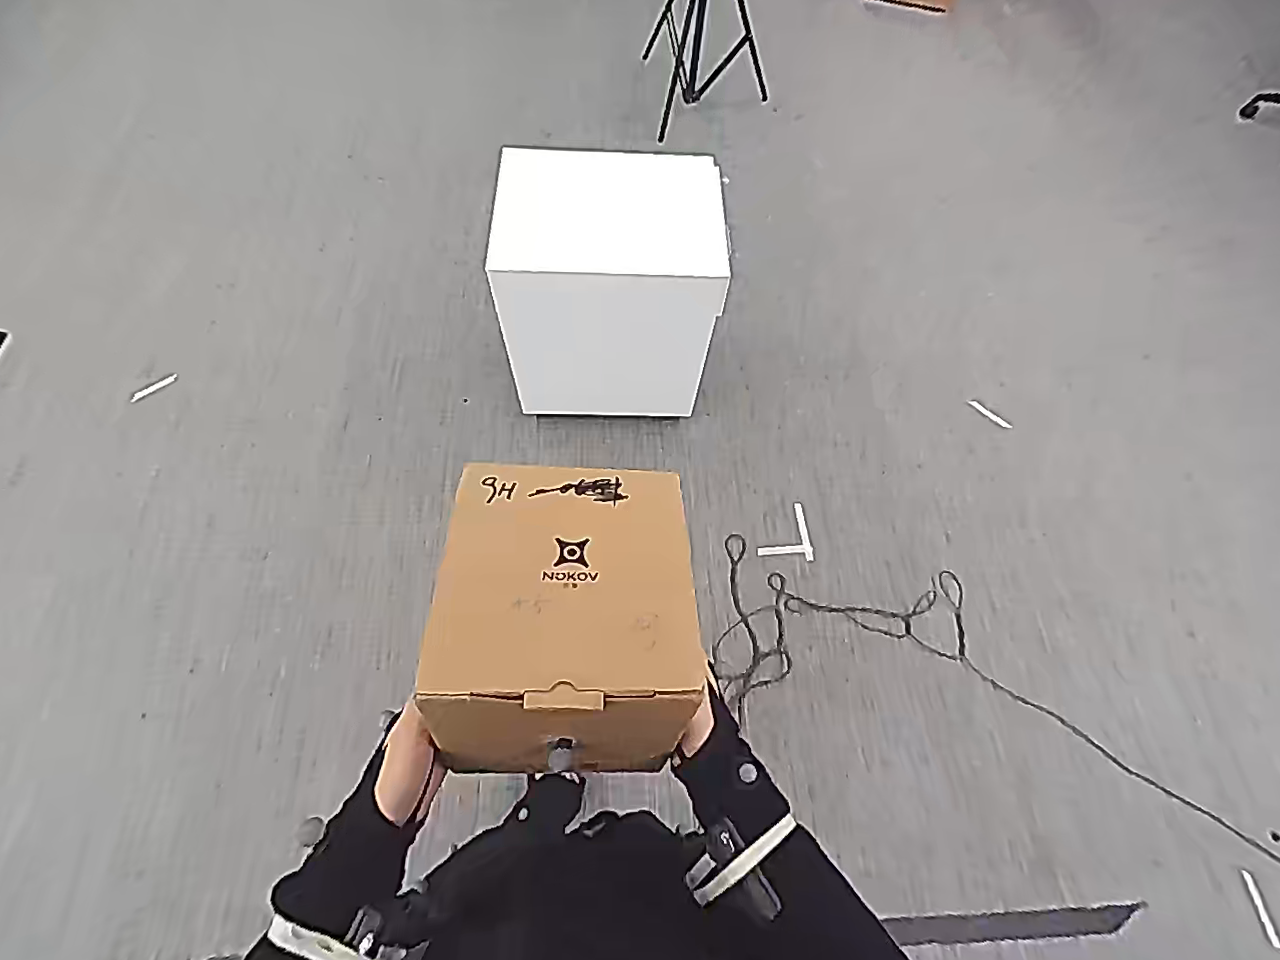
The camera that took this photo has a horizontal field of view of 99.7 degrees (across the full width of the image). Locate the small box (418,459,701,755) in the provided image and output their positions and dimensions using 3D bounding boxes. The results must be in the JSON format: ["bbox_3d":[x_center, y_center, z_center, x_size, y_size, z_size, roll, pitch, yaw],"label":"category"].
[{"bbox_3d":[-0.055,0.105,0.421,0.168,0.176,0.179,3,50,-7],"label":"small box"}]
